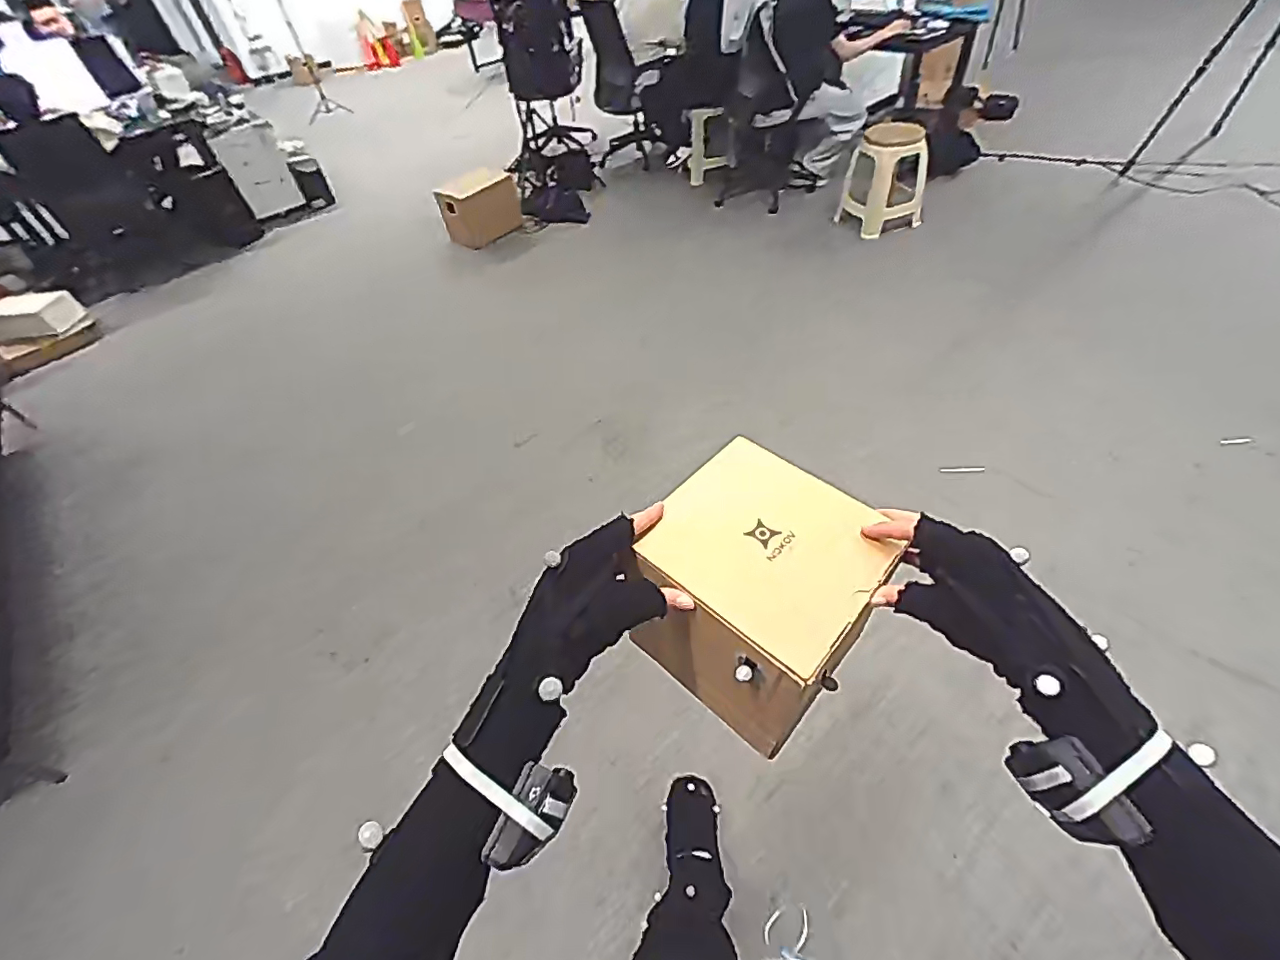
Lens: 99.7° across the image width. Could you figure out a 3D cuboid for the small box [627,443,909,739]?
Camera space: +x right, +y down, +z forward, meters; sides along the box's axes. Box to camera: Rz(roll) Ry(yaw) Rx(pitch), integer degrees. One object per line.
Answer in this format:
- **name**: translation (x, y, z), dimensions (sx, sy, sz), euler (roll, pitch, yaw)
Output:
- **small box**: translation (0.105, 0.102, 0.504), dimensions (0.179, 0.176, 0.168), euler (35, 57, 28)
